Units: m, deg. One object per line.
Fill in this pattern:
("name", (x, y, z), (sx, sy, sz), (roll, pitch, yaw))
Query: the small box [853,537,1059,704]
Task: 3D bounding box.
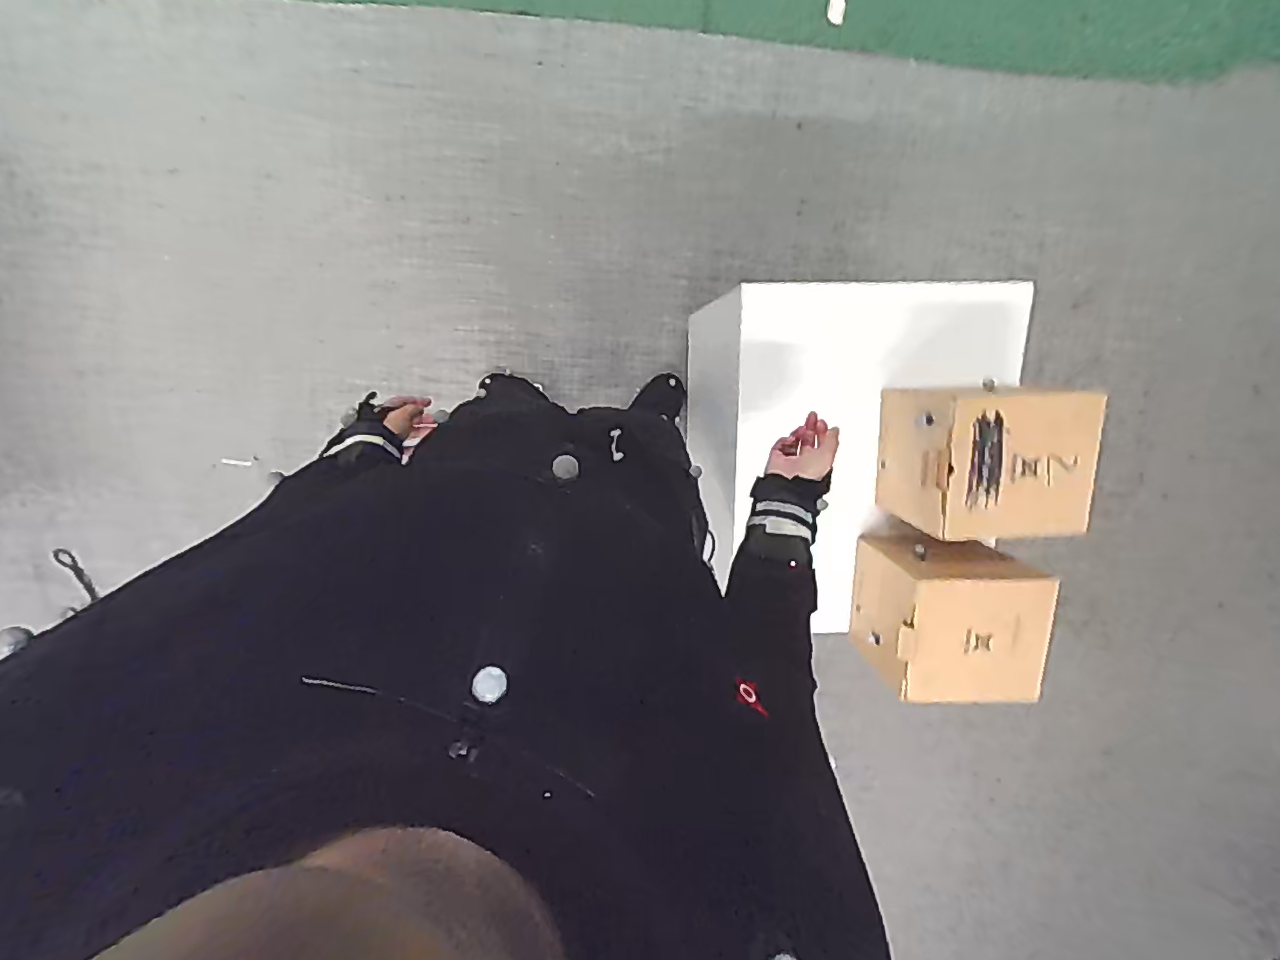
("small box", (0.410, 0.181, 0.736), (0.179, 0.176, 0.168), (-1, 103, -3))
